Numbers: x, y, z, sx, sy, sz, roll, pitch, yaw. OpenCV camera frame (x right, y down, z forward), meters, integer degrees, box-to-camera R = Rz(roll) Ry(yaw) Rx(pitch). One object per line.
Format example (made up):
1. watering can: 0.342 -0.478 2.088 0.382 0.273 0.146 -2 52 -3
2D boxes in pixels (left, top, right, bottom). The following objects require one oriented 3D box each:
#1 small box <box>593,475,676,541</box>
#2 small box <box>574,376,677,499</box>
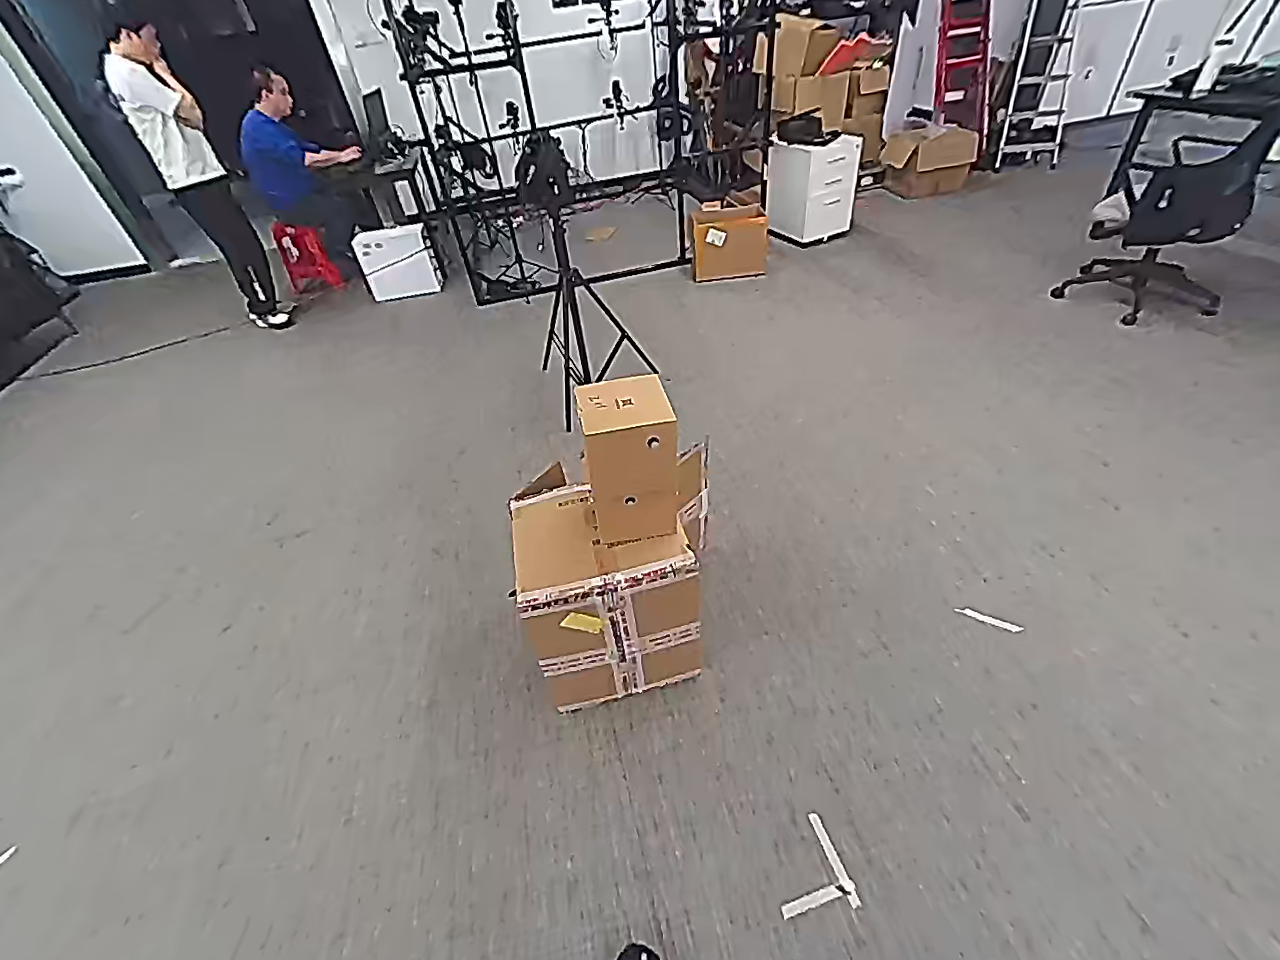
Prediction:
1. small box: -0.019 0.020 1.215 0.179 0.176 0.168 -8 43 -4
2. small box: -0.030 -0.084 1.084 0.179 0.176 0.168 -11 43 -6
